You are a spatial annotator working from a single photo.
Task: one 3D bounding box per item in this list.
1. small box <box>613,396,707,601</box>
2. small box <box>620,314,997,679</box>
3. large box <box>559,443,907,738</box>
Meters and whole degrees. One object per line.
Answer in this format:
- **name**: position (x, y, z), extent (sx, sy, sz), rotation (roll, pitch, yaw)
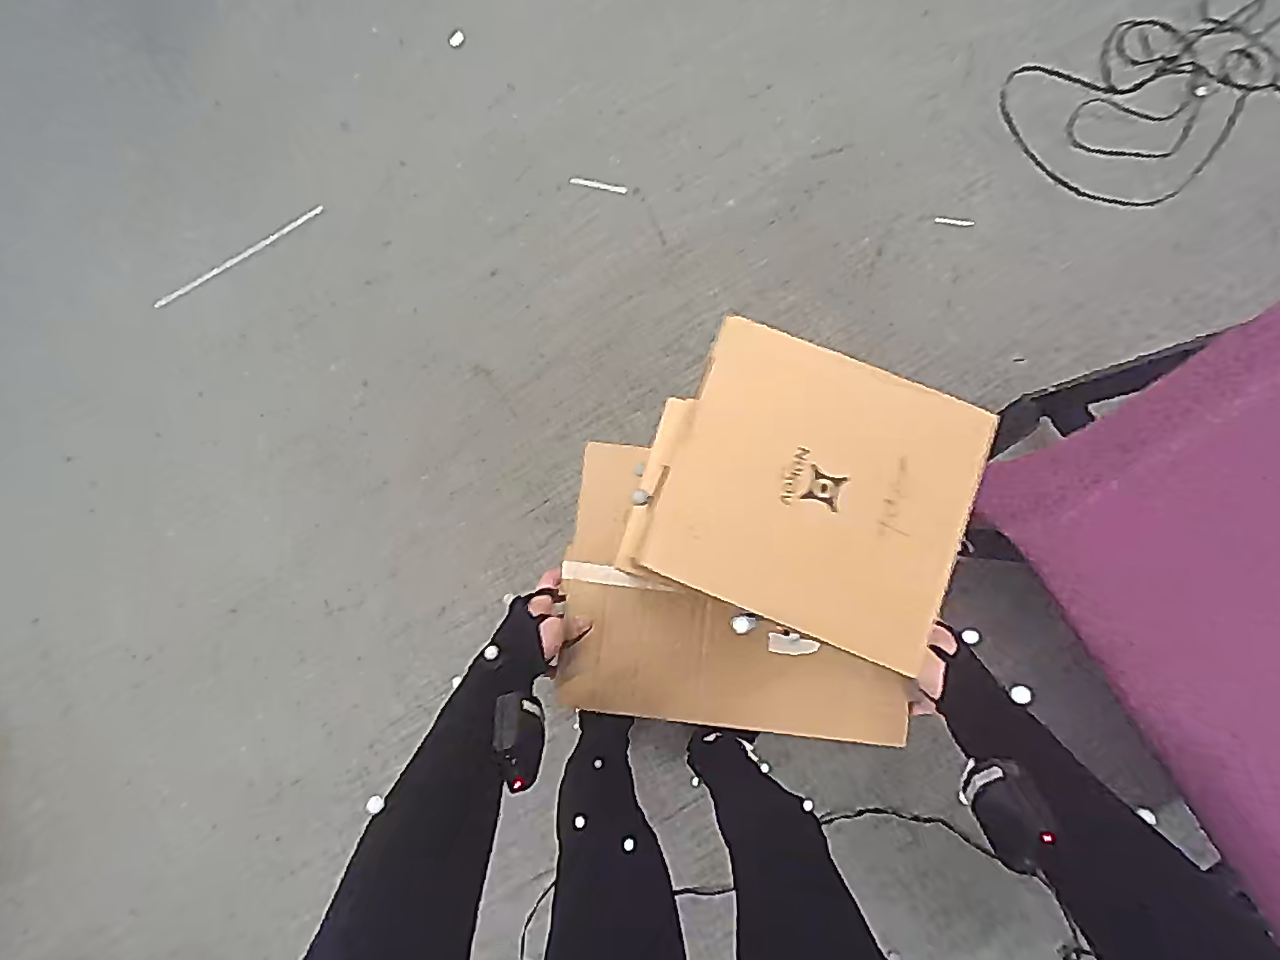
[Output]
- **small box**: position (0.082, 0.038, 0.550), extent (0.179, 0.176, 0.168), rotation (18, 80, 3)
- **small box**: position (0.099, 0.017, 0.387), extent (0.179, 0.176, 0.168), rotation (23, 82, 4)
- **large box**: position (0.115, 0.145, 0.778), extent (0.408, 0.320, 0.320), rotation (6, 82, 1)
